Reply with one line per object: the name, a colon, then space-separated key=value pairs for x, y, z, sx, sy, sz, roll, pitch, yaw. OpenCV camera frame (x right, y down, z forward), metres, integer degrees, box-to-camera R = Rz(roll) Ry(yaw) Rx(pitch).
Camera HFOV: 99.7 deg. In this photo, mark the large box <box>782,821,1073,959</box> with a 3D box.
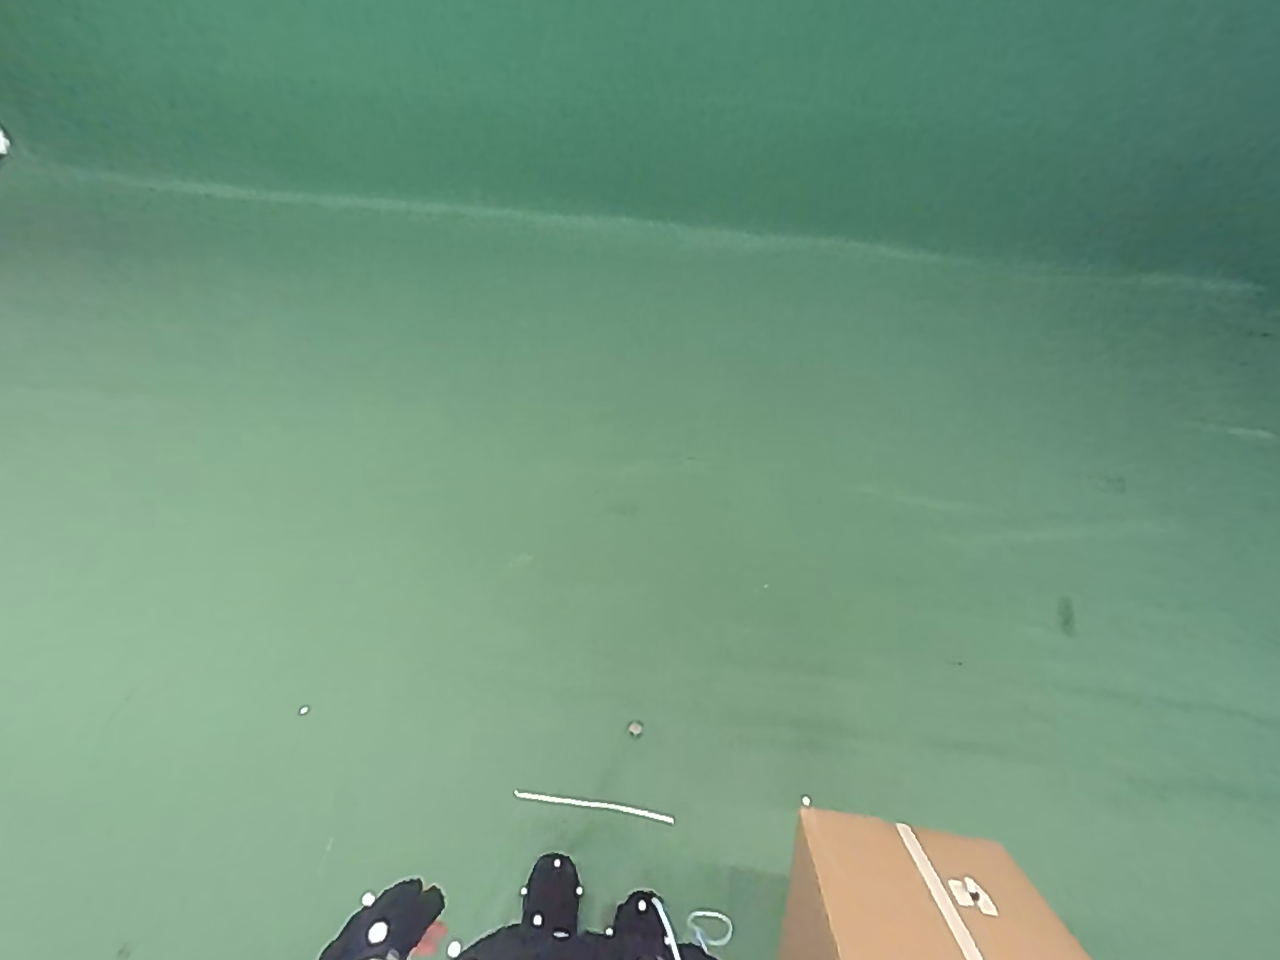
large box: x=0.370 y=0.726 z=0.674 sx=0.320 sy=0.408 sz=0.320 roll=8 pitch=92 yaw=6
